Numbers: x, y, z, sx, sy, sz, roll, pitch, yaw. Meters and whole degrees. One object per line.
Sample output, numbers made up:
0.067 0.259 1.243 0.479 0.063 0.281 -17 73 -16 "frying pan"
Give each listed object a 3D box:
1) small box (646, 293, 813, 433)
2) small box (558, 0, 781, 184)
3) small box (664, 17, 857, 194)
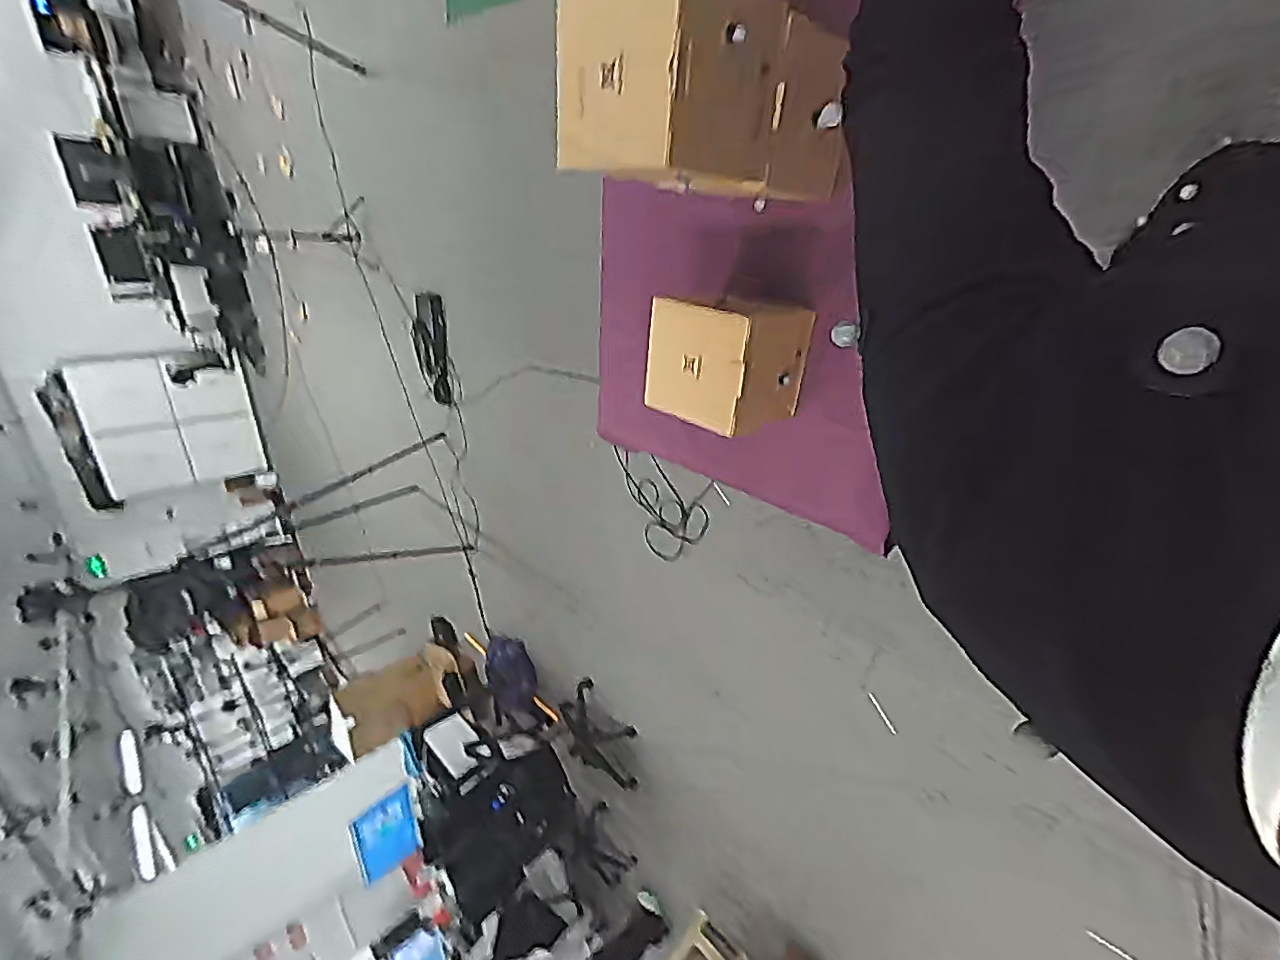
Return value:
0.134 -0.189 0.829 0.179 0.176 0.168 27 124 37 "small box"
0.030 -0.424 0.589 0.179 0.176 0.168 27 124 38 "small box"
0.151 -0.466 0.695 0.179 0.176 0.168 28 129 39 "small box"
